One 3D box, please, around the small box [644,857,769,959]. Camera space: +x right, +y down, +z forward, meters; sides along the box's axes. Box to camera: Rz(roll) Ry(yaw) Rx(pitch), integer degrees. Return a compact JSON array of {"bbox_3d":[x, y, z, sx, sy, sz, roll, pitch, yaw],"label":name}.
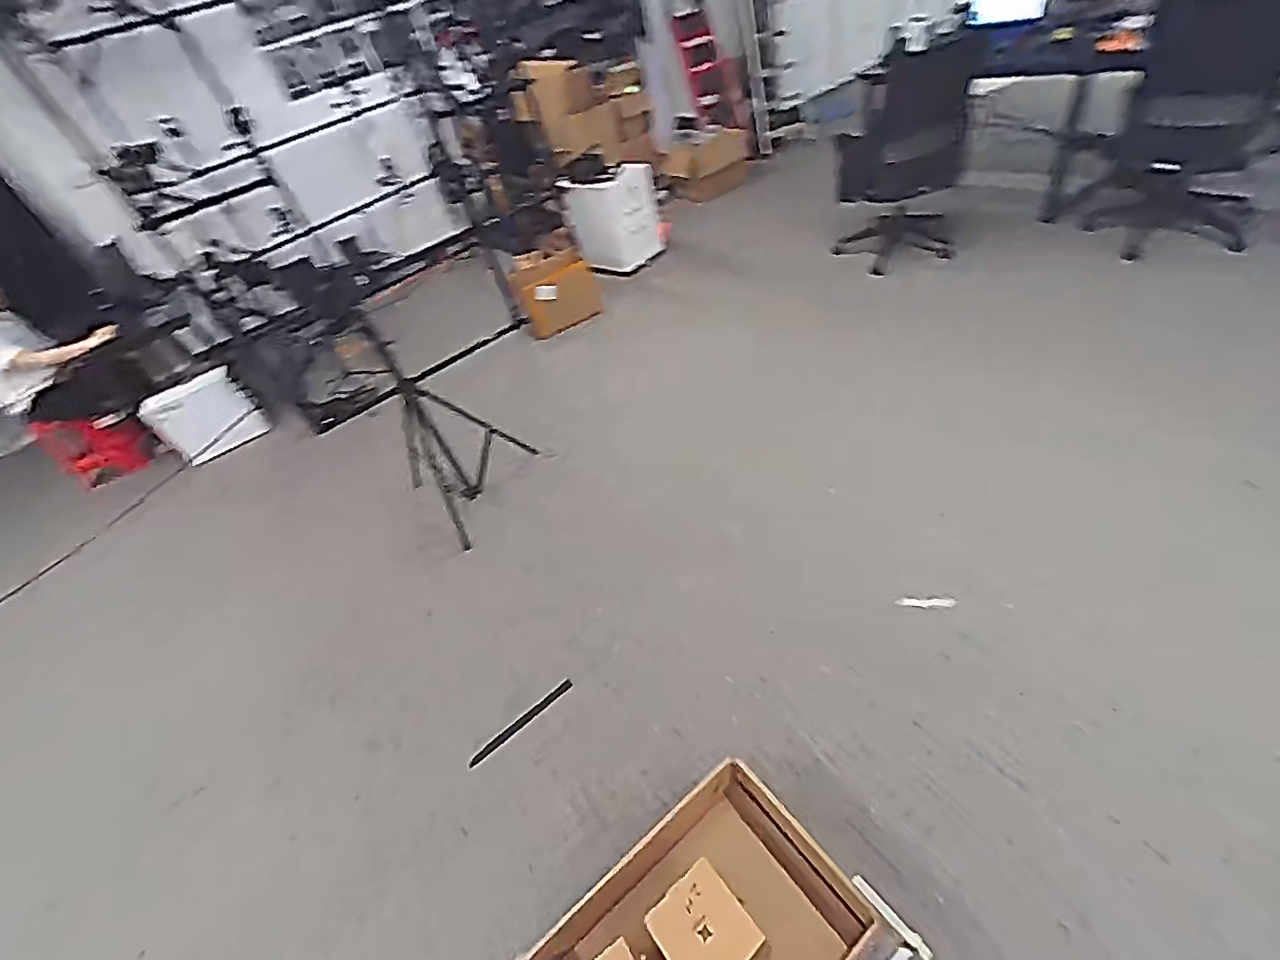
[{"bbox_3d":[0.138,0.905,1.077,0.168,0.176,0.179,-36,45,-19],"label":"small box"}]
